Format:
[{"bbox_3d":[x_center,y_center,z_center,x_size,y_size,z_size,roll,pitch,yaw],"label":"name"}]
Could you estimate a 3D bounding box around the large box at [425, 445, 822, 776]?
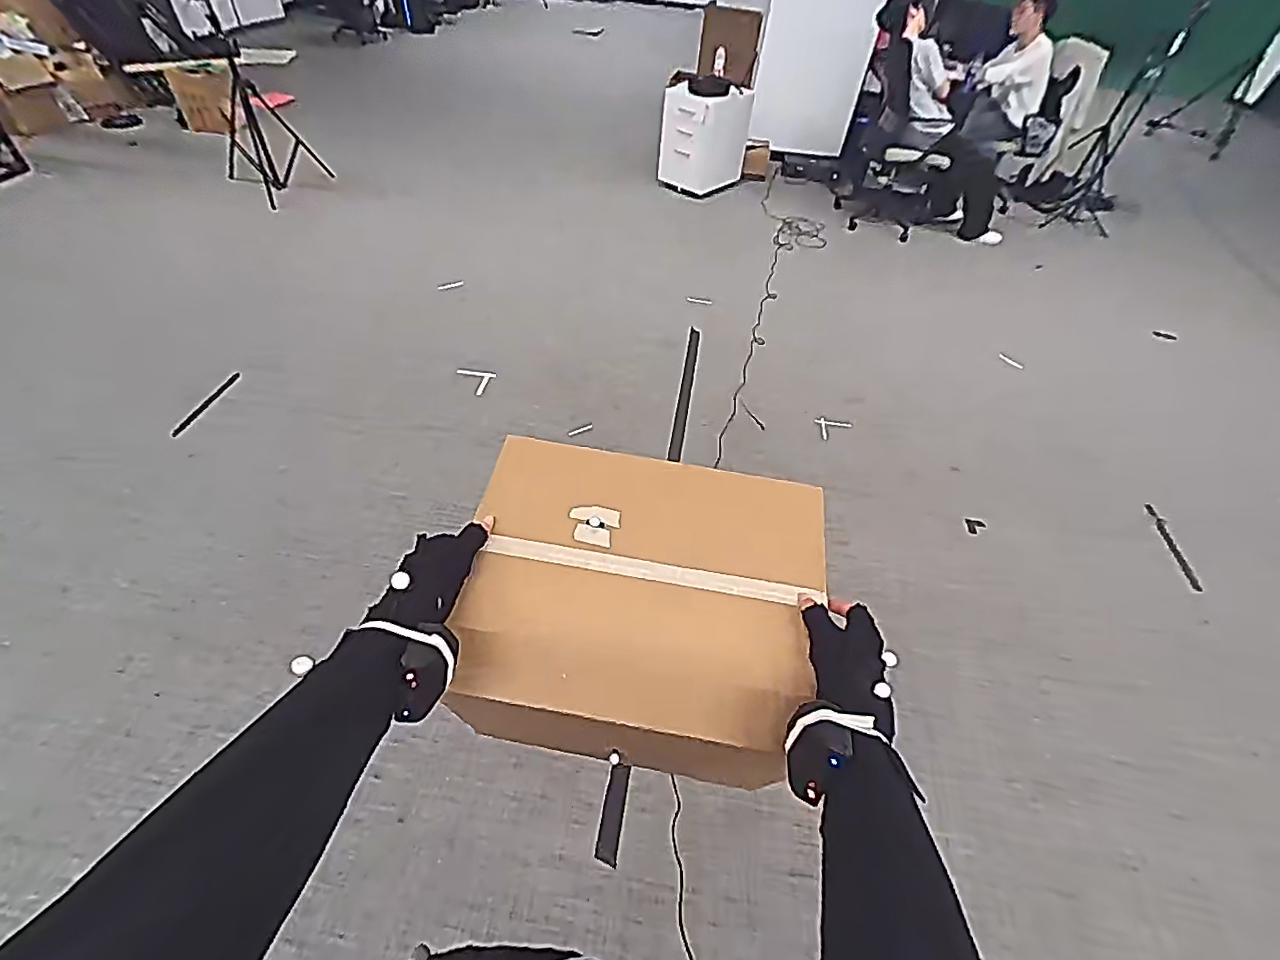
[{"bbox_3d":[-0.002,0.189,0.734,0.408,0.320,0.320,9,56,3],"label":"large box"}]
